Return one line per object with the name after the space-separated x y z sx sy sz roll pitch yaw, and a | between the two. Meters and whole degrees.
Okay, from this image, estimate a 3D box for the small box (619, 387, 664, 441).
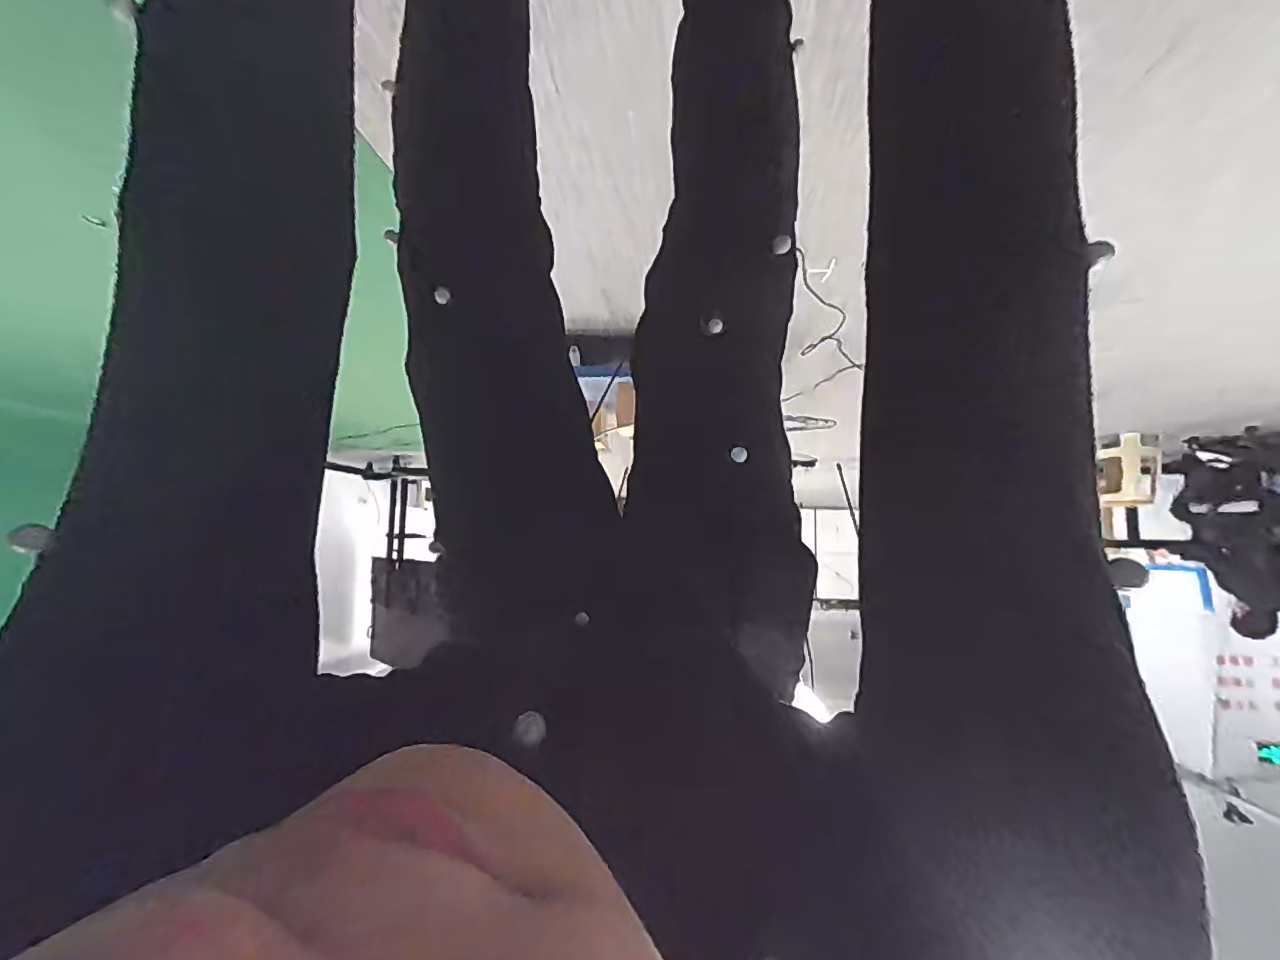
0.007 -0.246 2.031 0.168 0.176 0.179 1 173 3 | small box

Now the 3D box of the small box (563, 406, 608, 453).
-0.229 -0.214 2.317 0.168 0.176 0.179 -1 173 5 | small box
